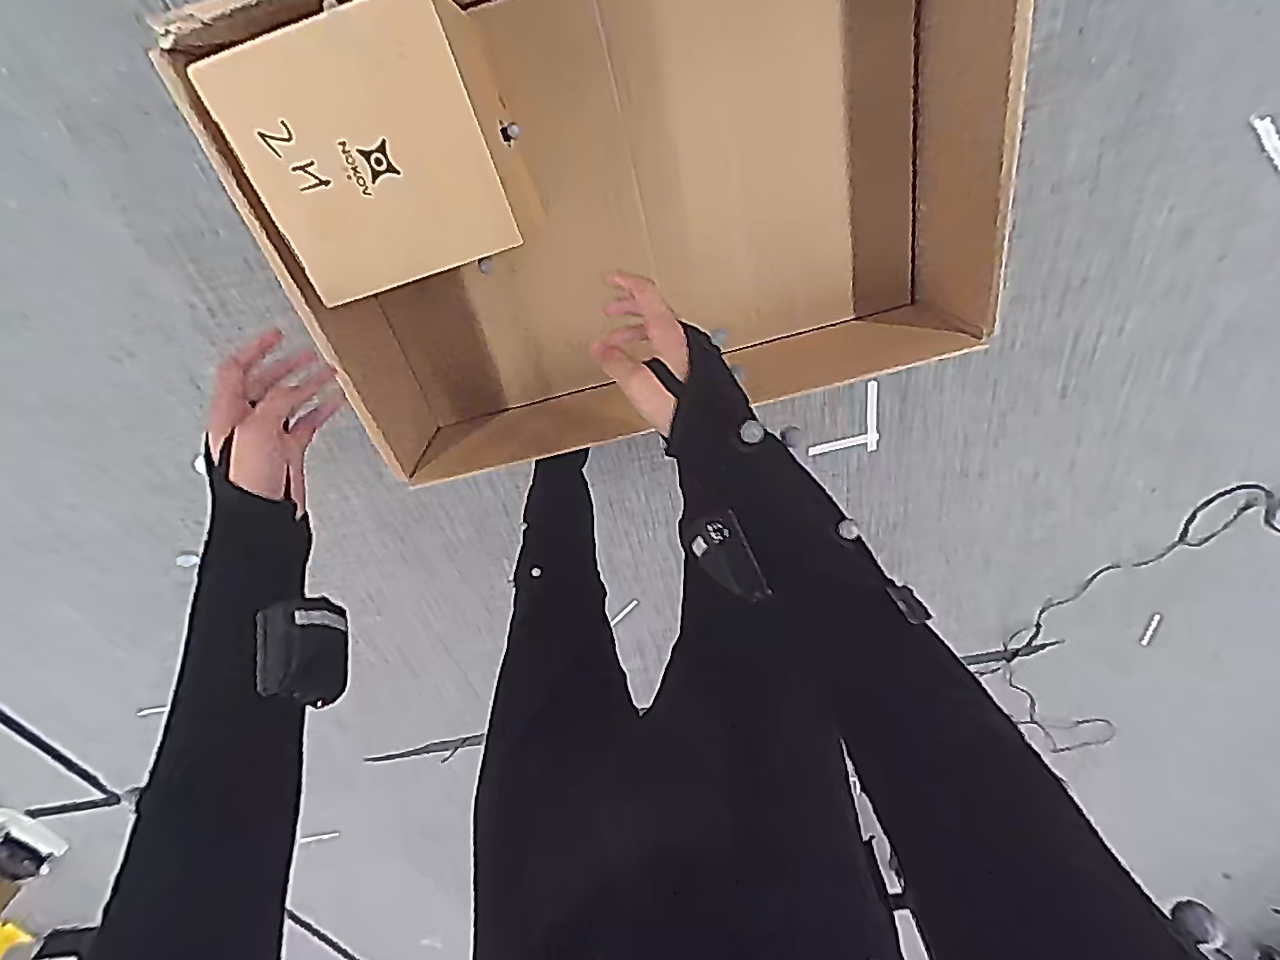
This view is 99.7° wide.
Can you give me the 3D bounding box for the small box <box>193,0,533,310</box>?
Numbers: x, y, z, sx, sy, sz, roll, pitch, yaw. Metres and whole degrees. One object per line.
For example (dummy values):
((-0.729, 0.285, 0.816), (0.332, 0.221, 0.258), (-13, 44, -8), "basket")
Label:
((-0.200, -0.268, 0.460), (0.179, 0.176, 0.168), (-15, 121, 6), "small box")
